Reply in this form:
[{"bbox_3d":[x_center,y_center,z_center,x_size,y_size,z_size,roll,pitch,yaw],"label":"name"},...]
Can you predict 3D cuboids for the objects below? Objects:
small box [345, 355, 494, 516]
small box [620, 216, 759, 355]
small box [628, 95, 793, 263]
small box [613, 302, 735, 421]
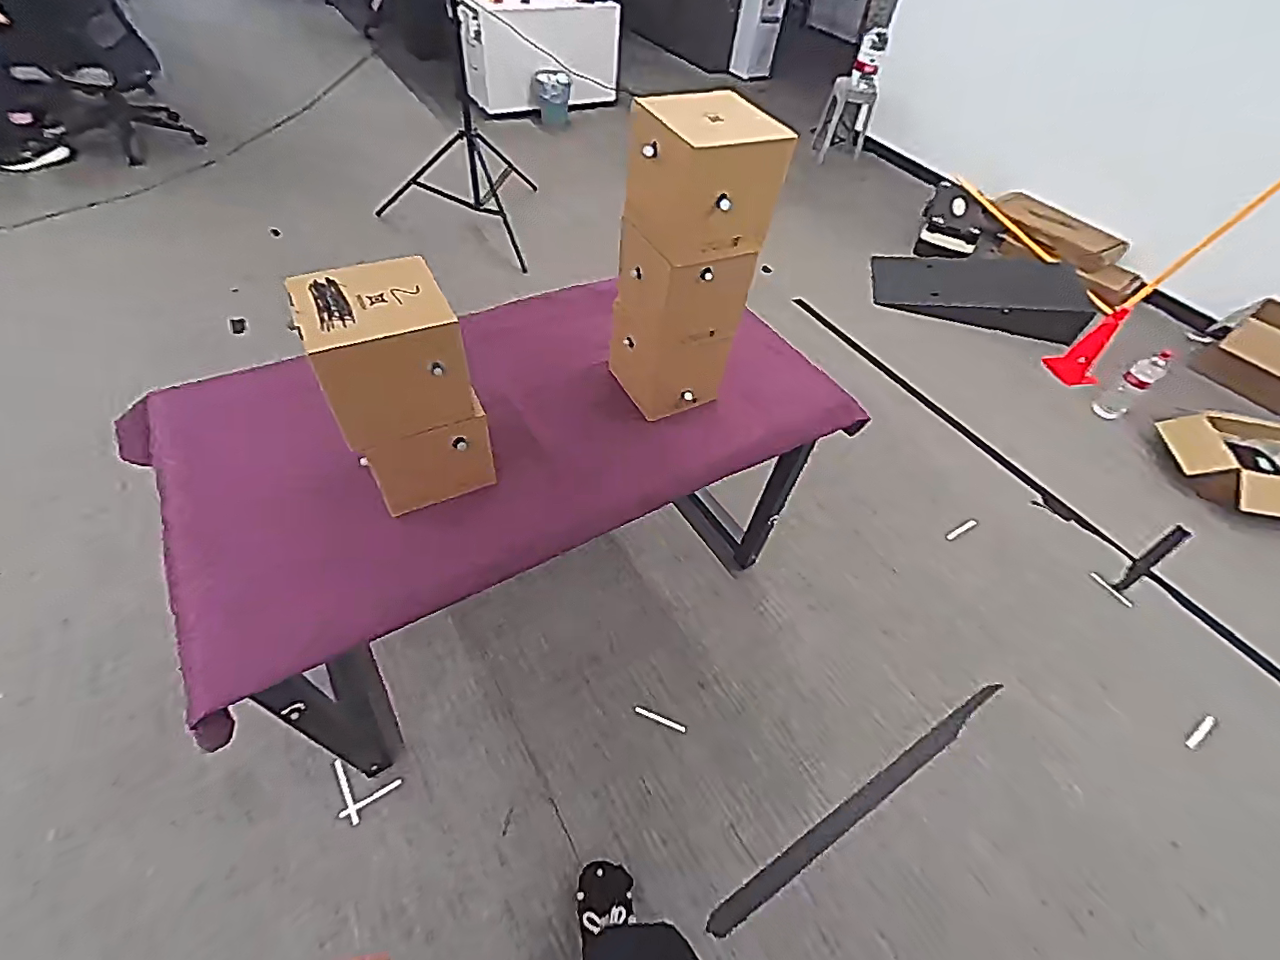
[{"bbox_3d":[-0.346,-0.071,0.876,0.179,0.176,0.168,-21,56,-21],"label":"small box"},{"bbox_3d":[0.074,-0.344,0.936,0.168,0.176,0.179,-19,55,-20],"label":"small box"},{"bbox_3d":[0.092,-0.442,0.805,0.168,0.176,0.179,-20,56,-20],"label":"small box"},{"bbox_3d":[0.056,-0.246,1.065,0.168,0.176,0.179,-21,57,-21],"label":"small box"}]
